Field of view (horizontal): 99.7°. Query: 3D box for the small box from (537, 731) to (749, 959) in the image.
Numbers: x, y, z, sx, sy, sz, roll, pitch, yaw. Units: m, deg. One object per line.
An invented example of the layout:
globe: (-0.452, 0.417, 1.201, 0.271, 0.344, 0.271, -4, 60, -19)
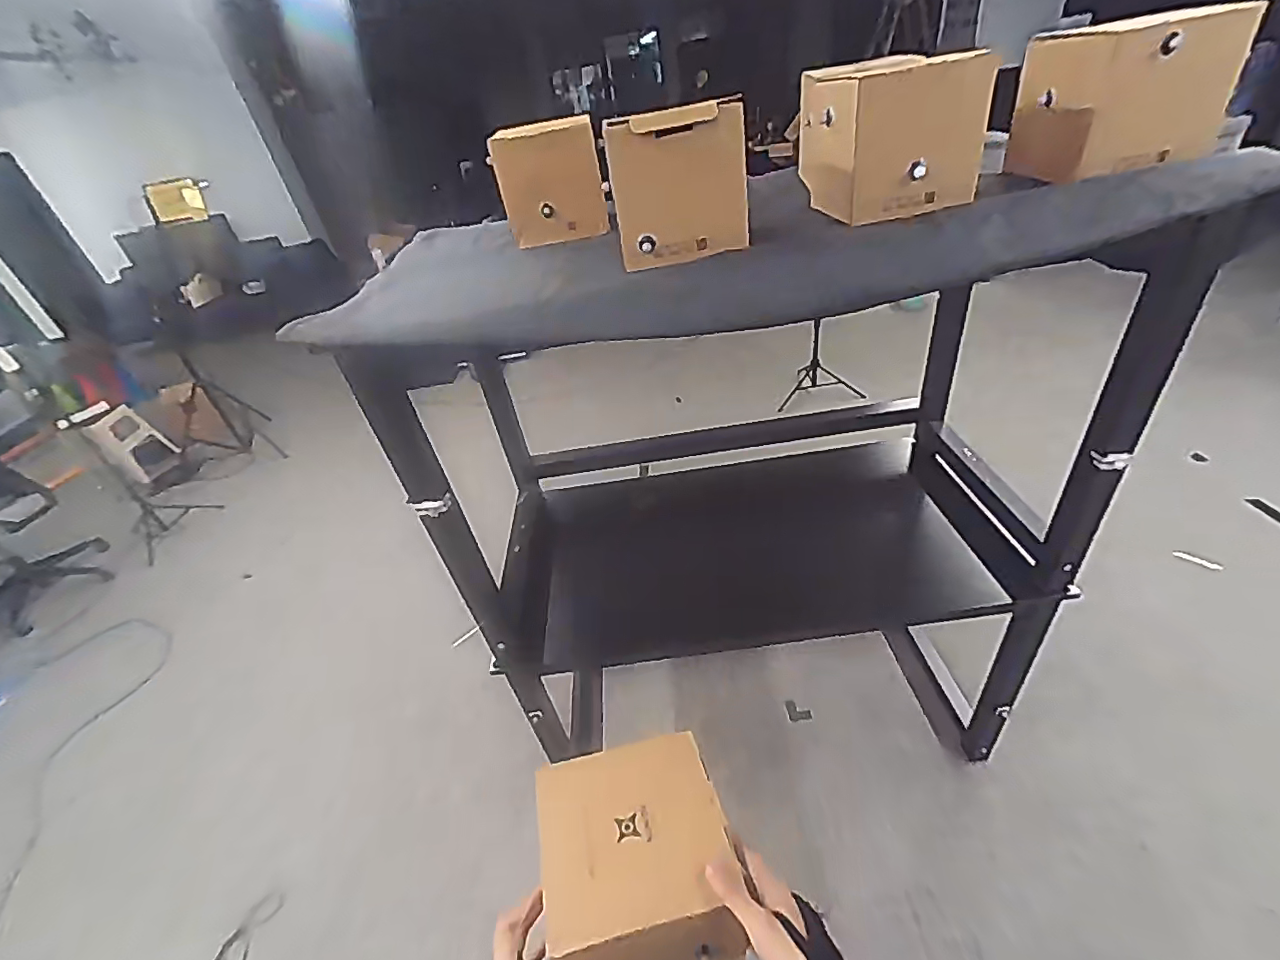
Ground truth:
small box: (-0.003, 0.396, 0.550, 0.179, 0.176, 0.168, -10, 30, -9)

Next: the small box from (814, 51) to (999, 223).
small box: (0.347, -0.467, 0.746, 0.168, 0.176, 0.179, -9, 35, 3)

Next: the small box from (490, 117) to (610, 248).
small box: (-0.149, -0.523, 0.953, 0.168, 0.176, 0.179, -10, 38, 1)

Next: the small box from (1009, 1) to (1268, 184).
small box: (0.643, -0.512, 0.732, 0.168, 0.176, 0.179, -9, 35, 5)
